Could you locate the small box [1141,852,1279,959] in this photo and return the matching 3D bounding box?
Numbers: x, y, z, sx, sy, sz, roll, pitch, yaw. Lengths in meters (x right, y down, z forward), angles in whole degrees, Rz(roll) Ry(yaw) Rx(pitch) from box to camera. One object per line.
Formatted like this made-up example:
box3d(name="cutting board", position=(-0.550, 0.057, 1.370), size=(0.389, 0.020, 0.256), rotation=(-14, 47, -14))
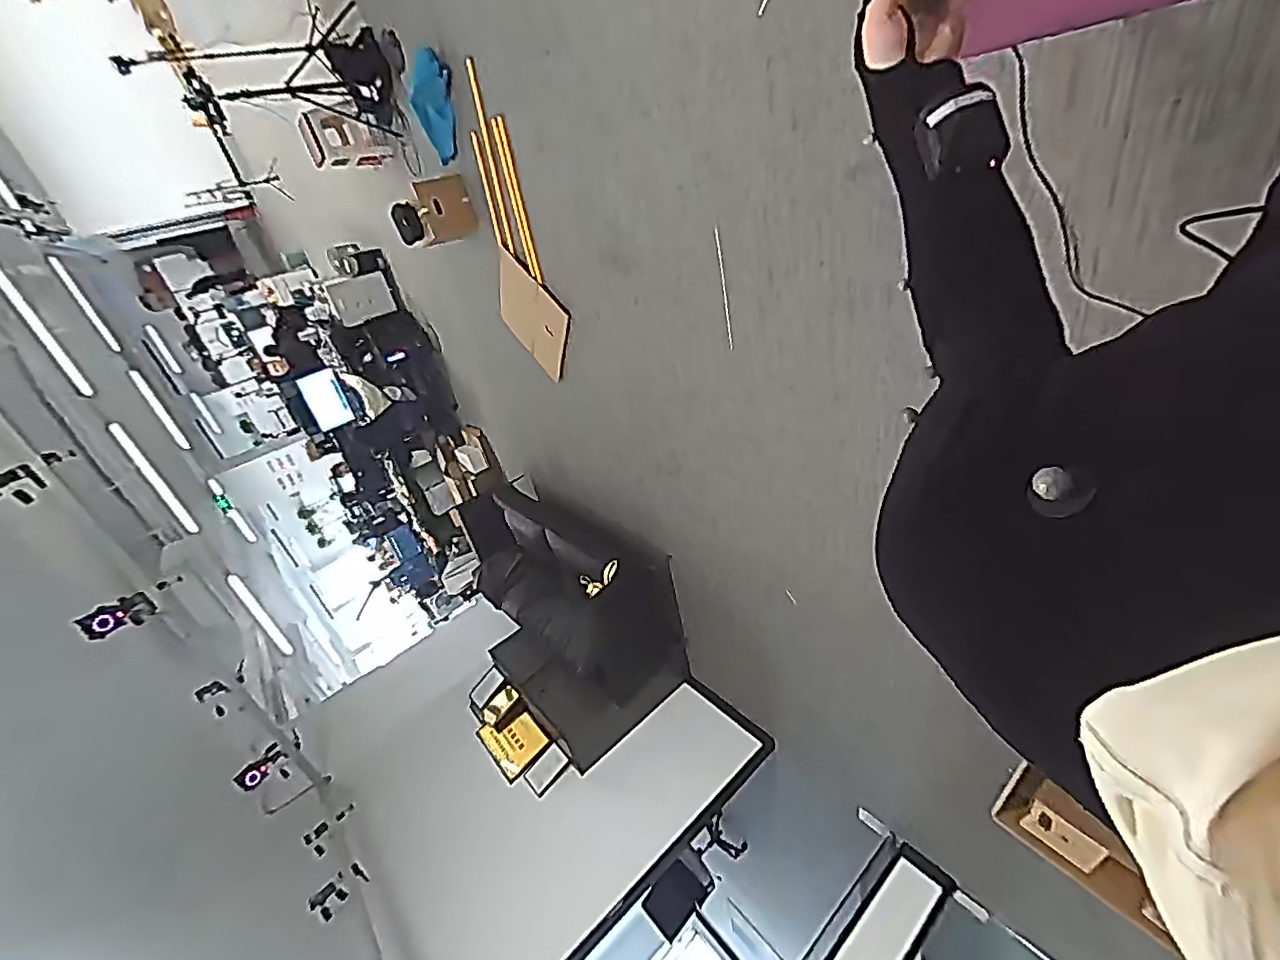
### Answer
box3d(name="small box", position=(1.419, 1.086, 1.347), size=(0.179, 0.176, 0.168), rotation=(33, 143, 39))
